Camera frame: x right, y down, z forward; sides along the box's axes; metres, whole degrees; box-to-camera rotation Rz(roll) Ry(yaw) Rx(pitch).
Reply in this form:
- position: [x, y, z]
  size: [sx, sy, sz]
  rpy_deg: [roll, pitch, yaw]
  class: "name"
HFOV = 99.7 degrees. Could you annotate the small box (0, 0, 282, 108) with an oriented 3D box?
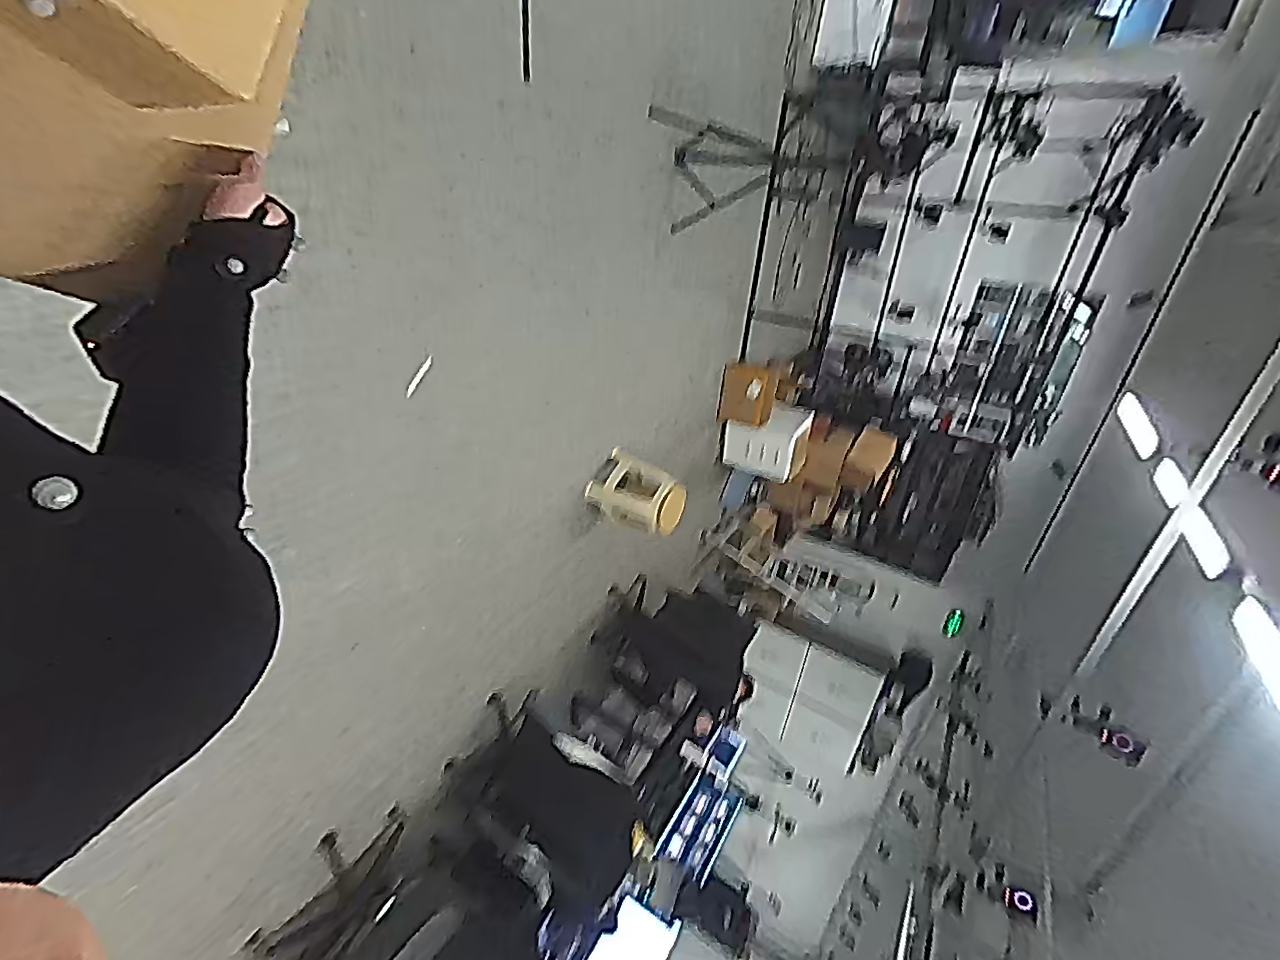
- position: [-0.367, -0.383, 0.354]
  size: [0.179, 0.176, 0.168]
  rpy_deg: [16, 91, -63]
  class: "small box"
